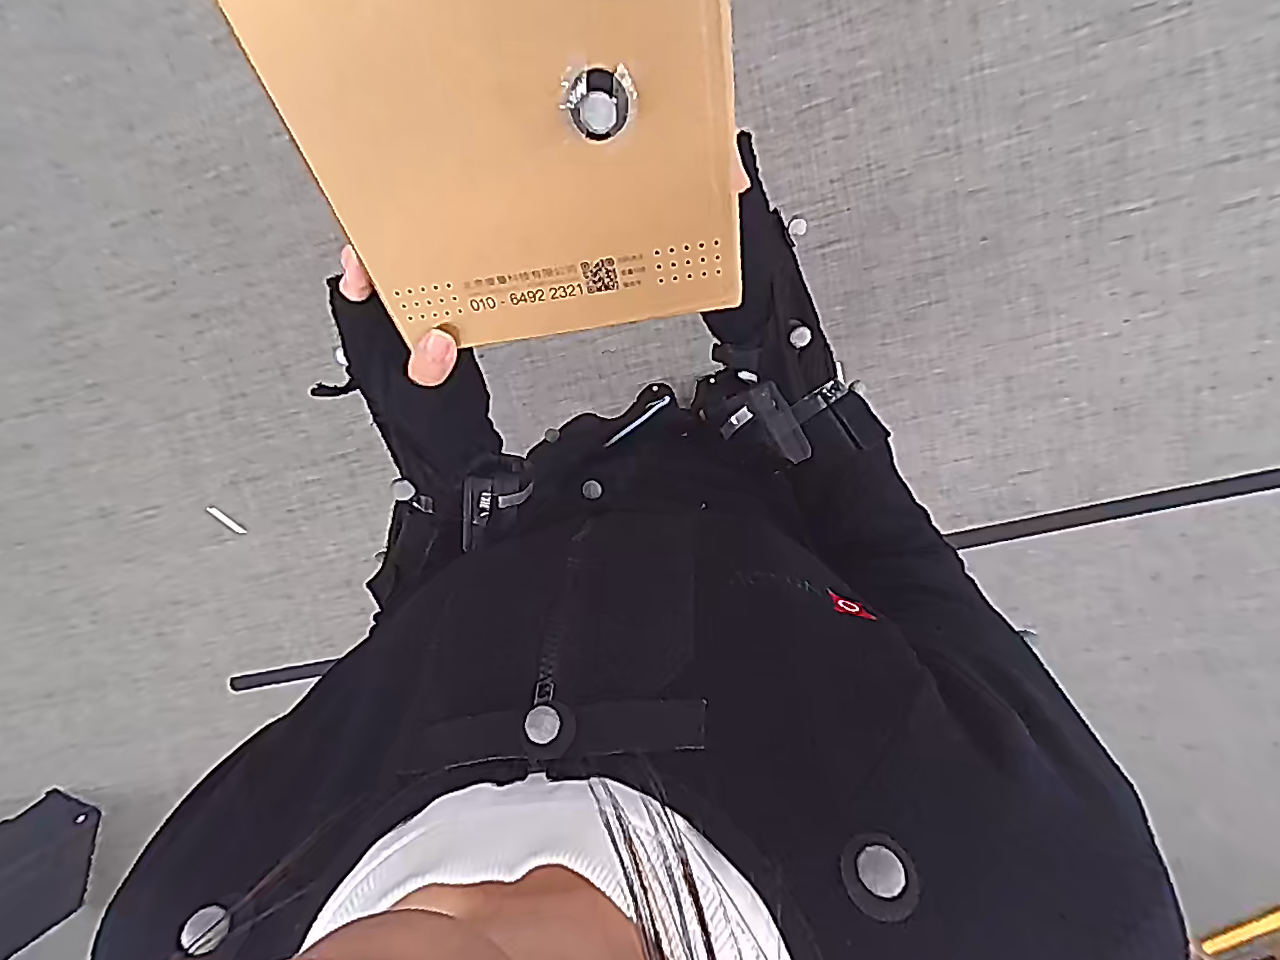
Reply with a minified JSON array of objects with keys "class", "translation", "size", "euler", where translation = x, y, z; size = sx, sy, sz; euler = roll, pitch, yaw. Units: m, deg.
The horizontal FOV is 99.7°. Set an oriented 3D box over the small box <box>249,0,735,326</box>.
[{"class":"small box","translation":[-0.042,-0.194,0.280],"size":[0.168,0.179,0.176],"euler":[-5,136,8]}]
